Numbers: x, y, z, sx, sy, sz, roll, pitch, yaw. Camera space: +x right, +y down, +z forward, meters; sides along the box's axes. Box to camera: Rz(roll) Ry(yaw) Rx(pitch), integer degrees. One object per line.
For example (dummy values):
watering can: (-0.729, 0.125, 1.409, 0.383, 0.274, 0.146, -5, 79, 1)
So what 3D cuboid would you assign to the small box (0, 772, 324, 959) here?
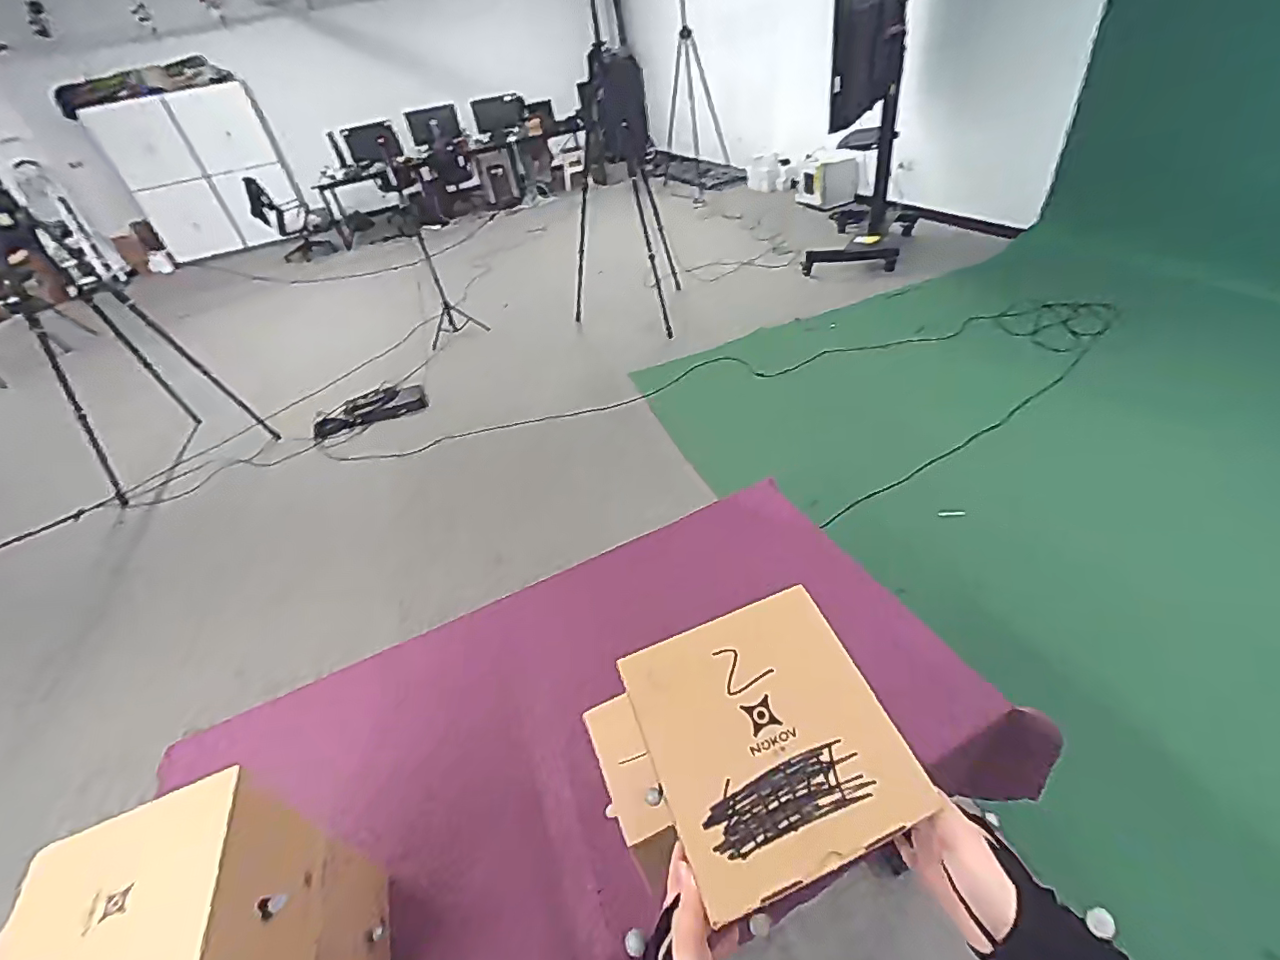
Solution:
small box: (-0.419, 0.411, 0.491, 0.179, 0.176, 0.168, -22, 40, -11)

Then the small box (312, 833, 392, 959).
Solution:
small box: (-0.397, 0.538, 0.592, 0.179, 0.176, 0.168, -21, 40, -11)

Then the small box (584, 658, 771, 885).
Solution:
small box: (0.049, 0.367, 0.687, 0.179, 0.176, 0.168, -22, 40, -11)
